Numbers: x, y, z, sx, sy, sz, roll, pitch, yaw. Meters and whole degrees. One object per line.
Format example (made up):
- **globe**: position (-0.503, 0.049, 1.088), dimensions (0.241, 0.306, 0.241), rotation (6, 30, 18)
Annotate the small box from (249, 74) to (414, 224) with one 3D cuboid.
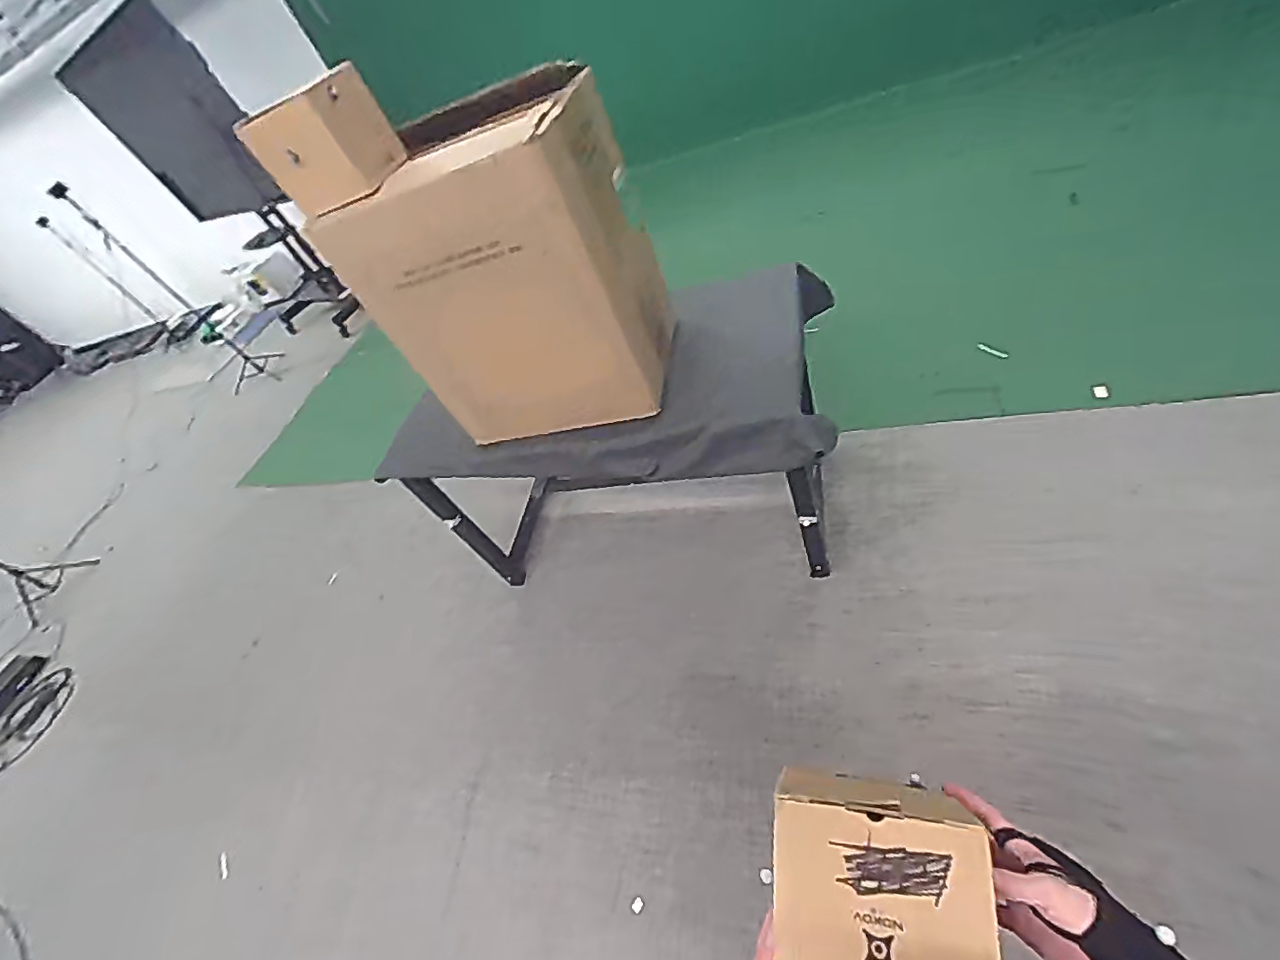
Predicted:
- **small box**: position (-0.574, -0.618, 1.027), dimensions (0.179, 0.176, 0.168), rotation (-8, 49, 23)
